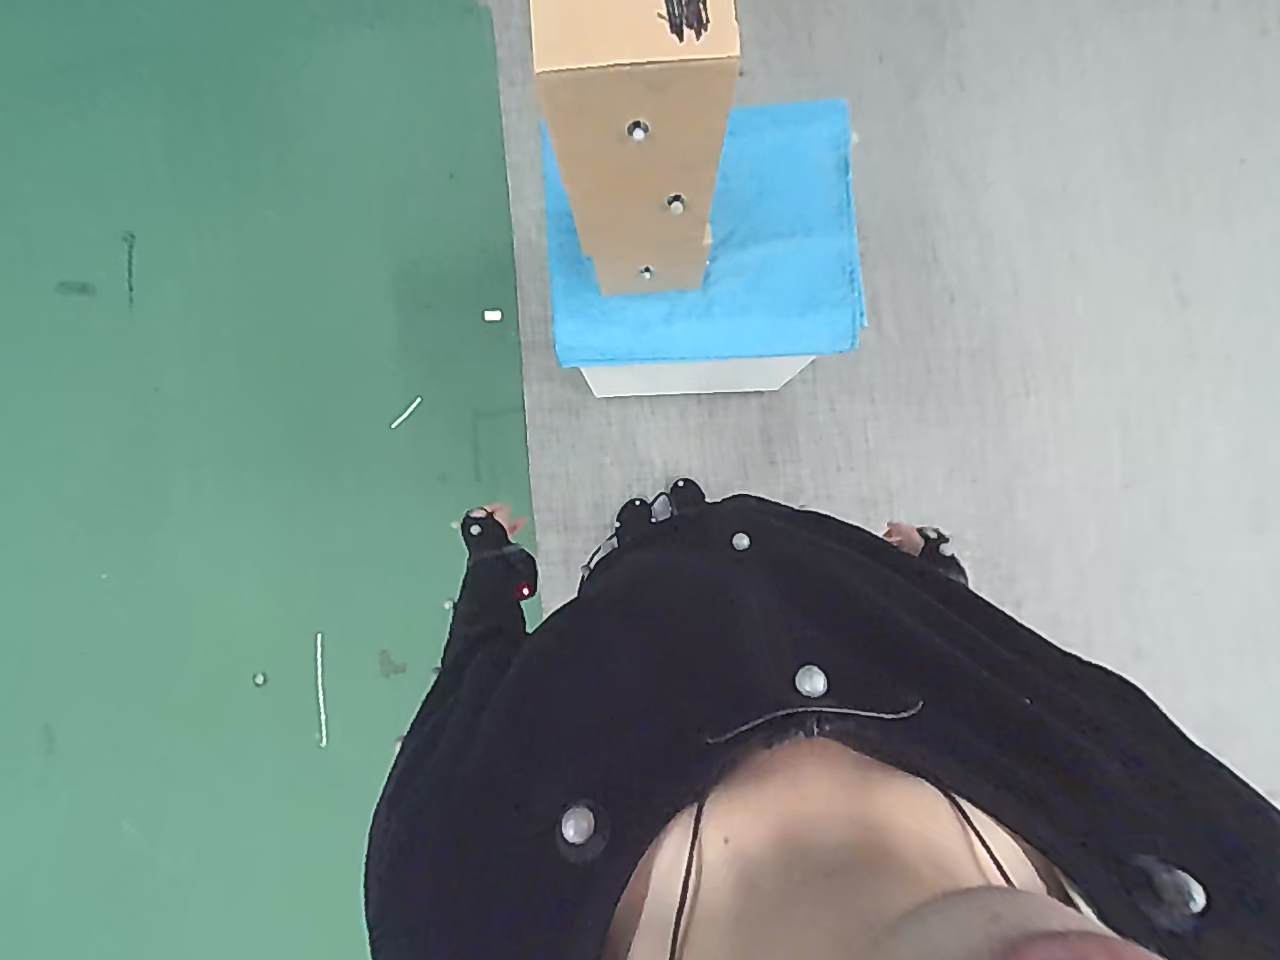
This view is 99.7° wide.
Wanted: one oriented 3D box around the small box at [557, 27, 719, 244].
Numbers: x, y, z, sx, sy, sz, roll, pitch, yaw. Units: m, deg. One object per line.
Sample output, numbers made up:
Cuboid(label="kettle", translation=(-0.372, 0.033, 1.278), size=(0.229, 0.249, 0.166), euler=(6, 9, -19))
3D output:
Cuboid(label="small box", translation=(-0.003, -0.419, 0.684), size=(0.179, 0.176, 0.168), euler=(-4, 88, 1))

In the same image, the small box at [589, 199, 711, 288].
Cuboid(label="small box", translation=(0.010, -0.416, 0.848), size=(0.179, 0.176, 0.168), euler=(-4, 88, 1))
